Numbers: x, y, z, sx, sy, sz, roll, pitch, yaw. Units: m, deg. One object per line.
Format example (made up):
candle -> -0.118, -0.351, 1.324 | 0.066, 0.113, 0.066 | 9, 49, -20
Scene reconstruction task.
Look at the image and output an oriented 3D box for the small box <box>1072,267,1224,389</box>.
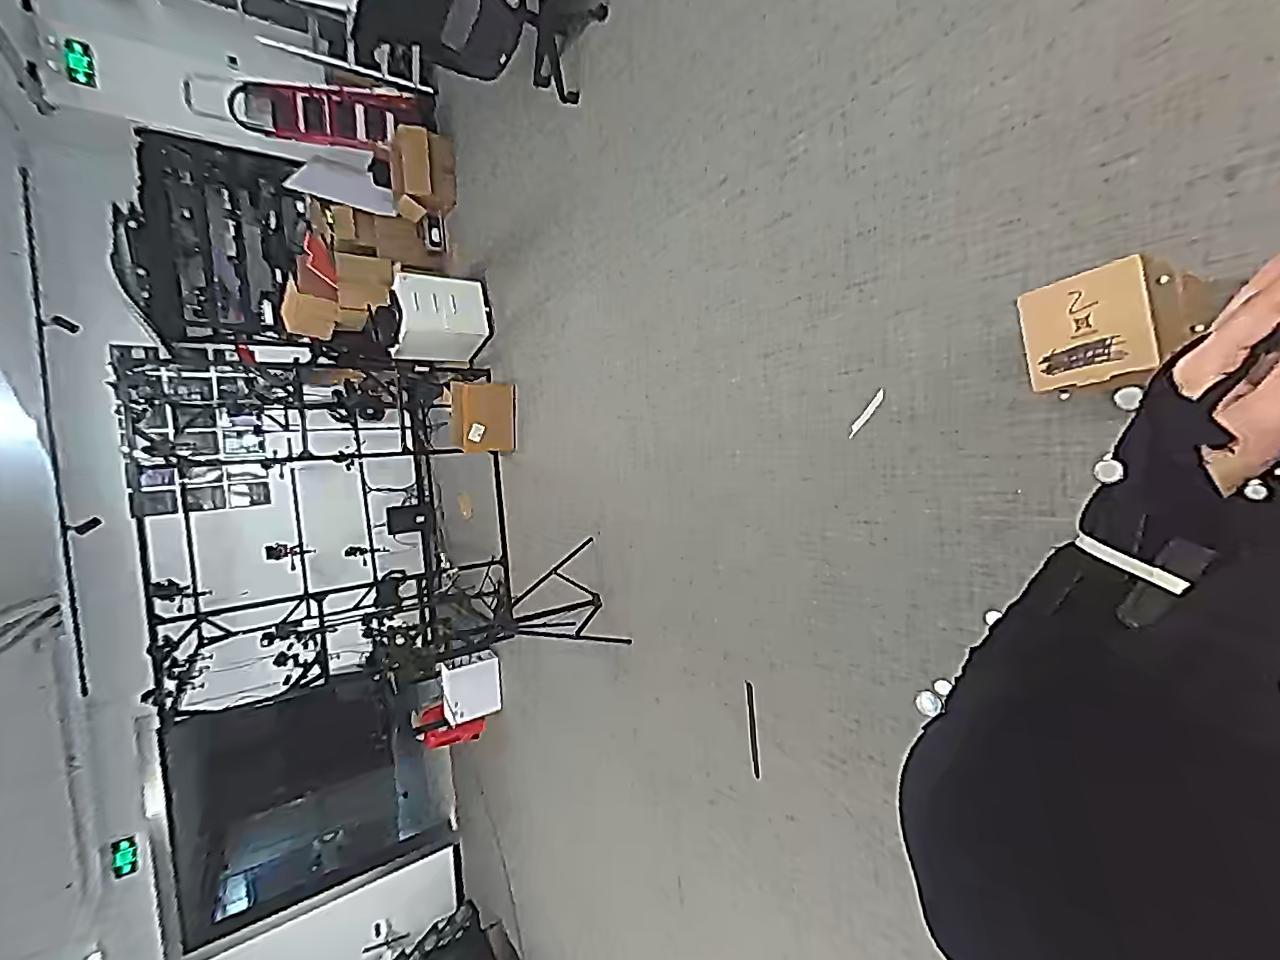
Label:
small box -> 0.922, -0.265, 0.982 | 0.168, 0.176, 0.179 | -3, 92, 57
